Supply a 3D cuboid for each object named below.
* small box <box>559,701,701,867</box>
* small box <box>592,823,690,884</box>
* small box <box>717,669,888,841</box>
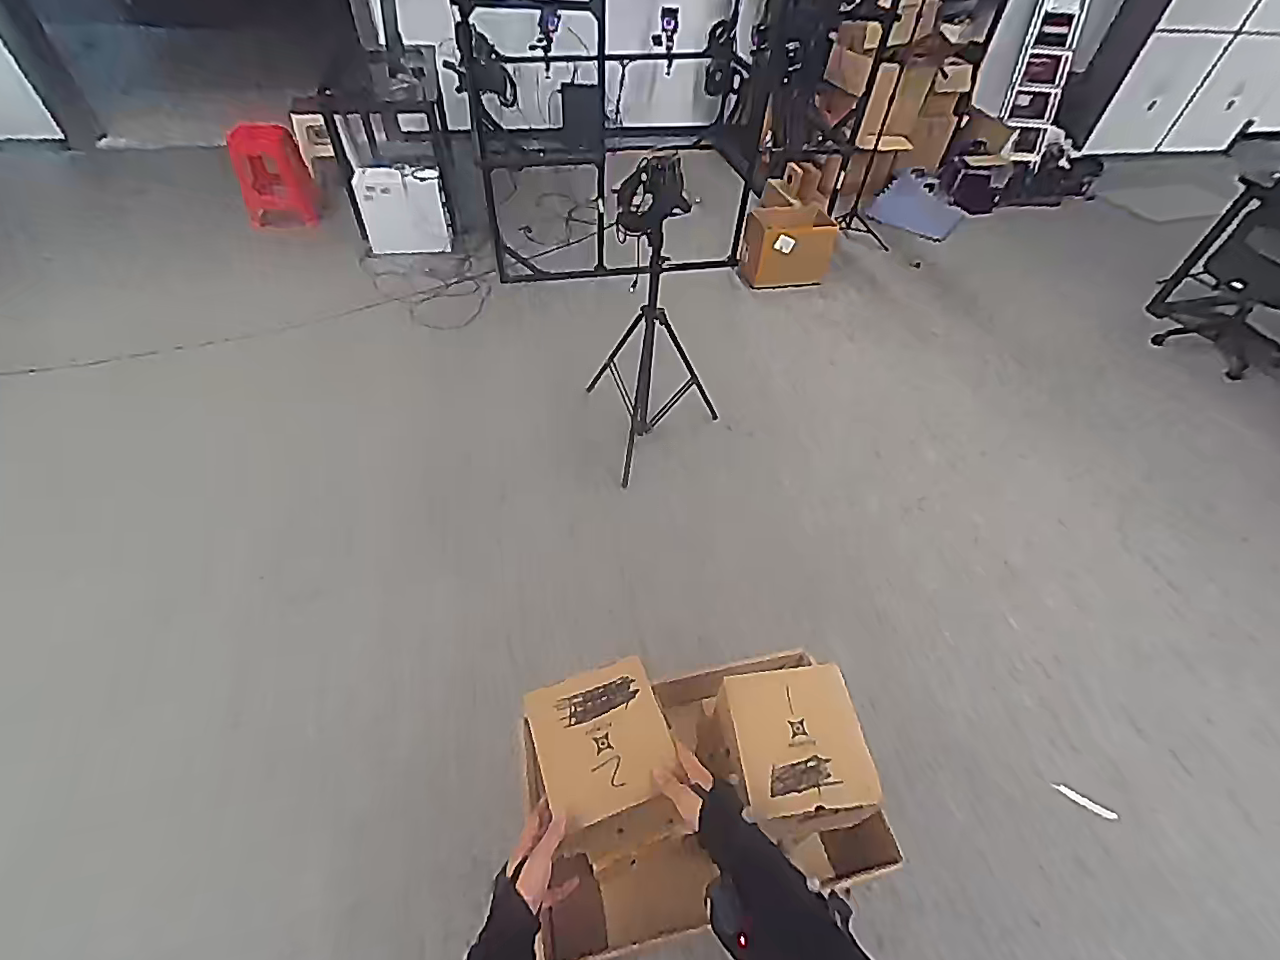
[{"bbox_3d":[-0.023,0.487,0.867,0.179,0.176,0.168,-15,51,-16],"label":"small box"},{"bbox_3d":[-0.027,0.600,0.986,0.168,0.176,0.179,-15,52,-16],"label":"small box"},{"bbox_3d":[0.208,0.385,0.749,0.168,0.176,0.179,-5,49,-3],"label":"small box"}]
